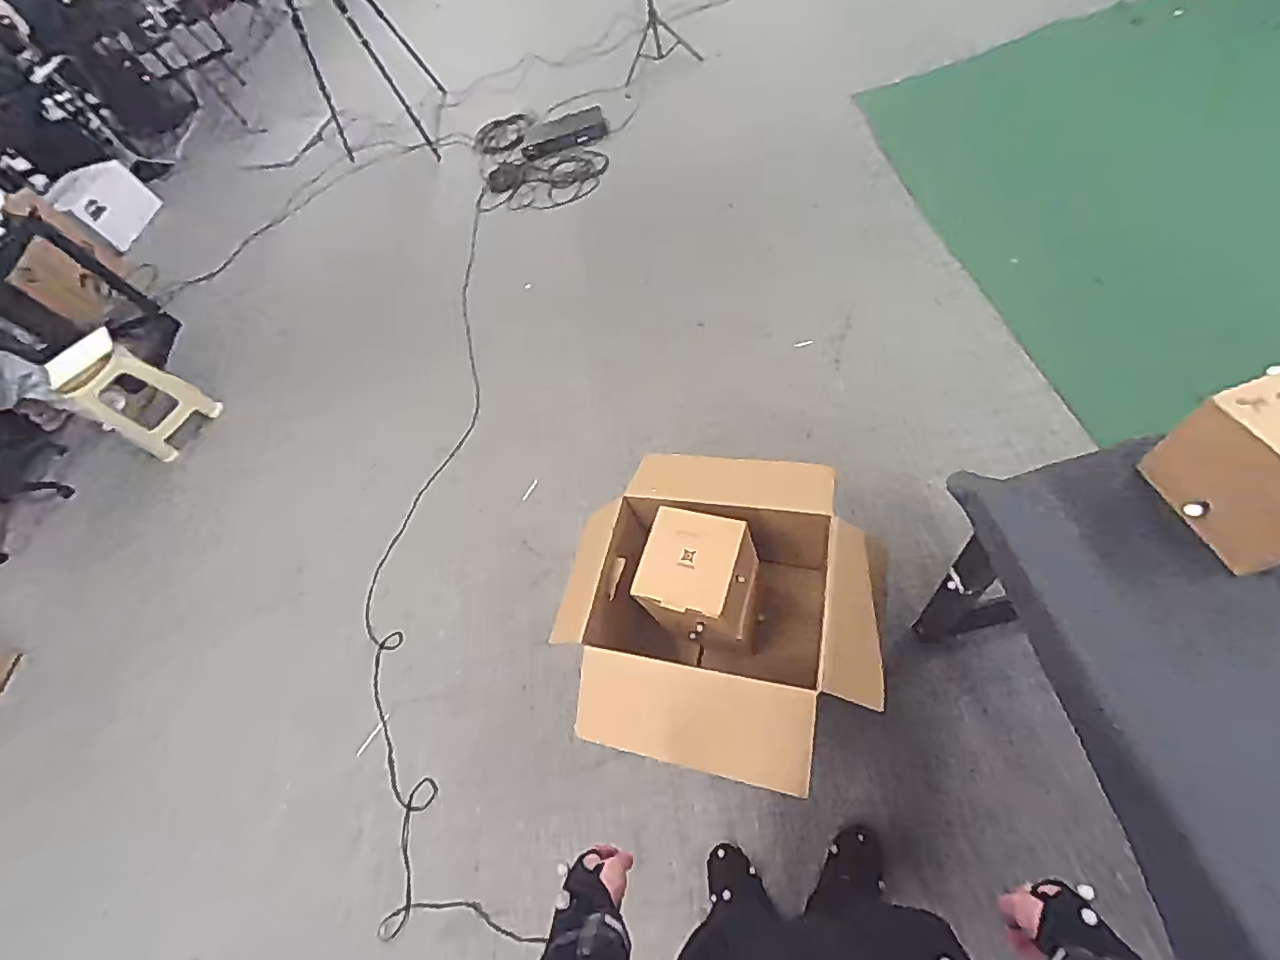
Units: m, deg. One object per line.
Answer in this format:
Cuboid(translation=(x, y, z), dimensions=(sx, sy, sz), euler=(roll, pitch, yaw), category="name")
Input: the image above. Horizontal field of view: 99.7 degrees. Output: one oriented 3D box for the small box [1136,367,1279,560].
Cuboid(translation=(0.765, -0.020, 0.639), dimensions=(0.168, 0.176, 0.179), euler=(-20, 59, 4), category="small box")
